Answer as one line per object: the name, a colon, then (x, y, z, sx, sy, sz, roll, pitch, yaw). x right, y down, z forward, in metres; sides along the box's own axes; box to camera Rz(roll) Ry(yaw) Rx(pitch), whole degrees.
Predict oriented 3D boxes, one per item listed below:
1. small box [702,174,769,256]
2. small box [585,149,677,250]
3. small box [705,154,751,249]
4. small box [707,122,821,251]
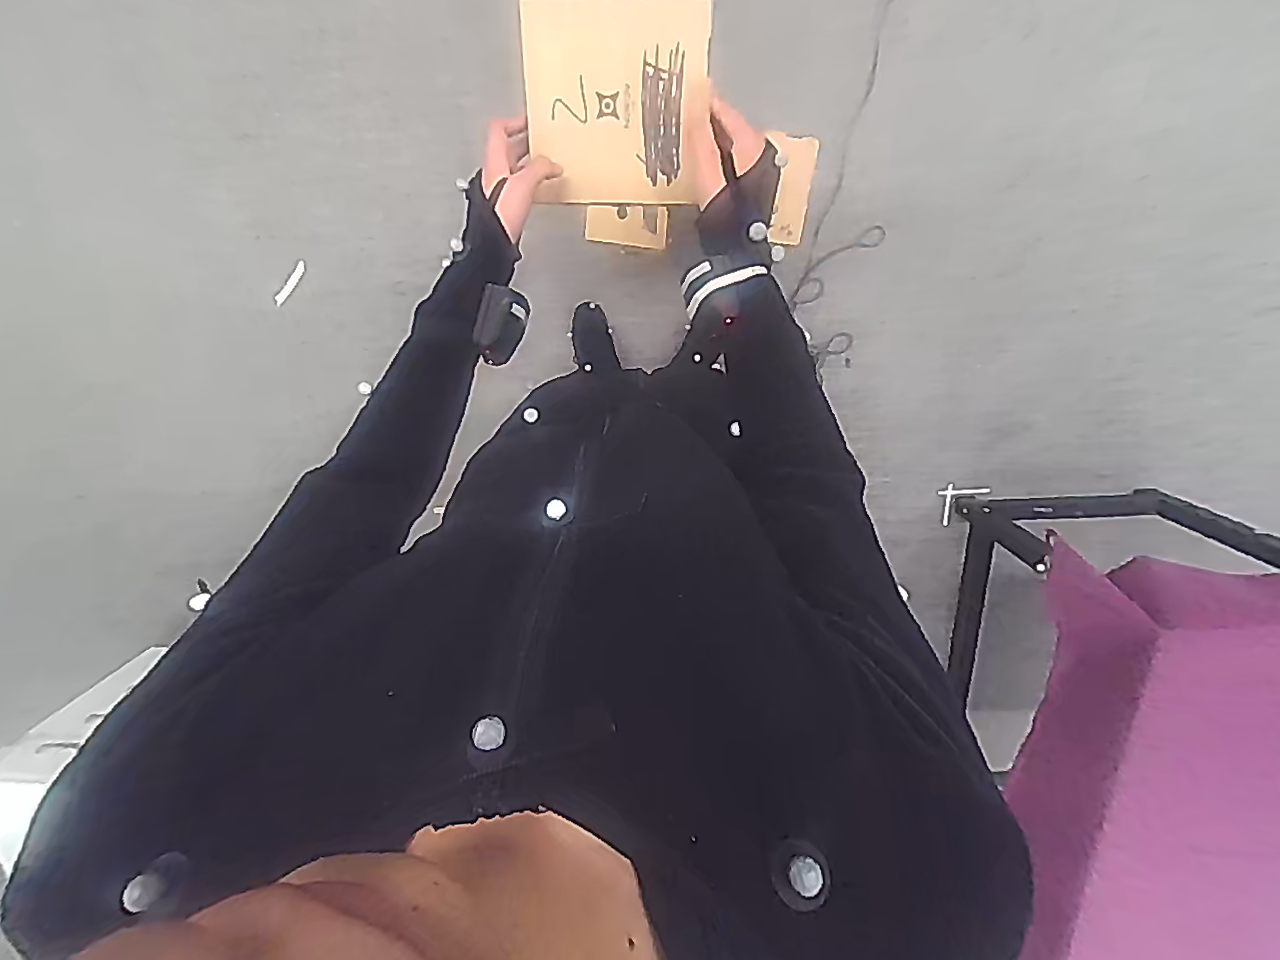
small box: (0.242, -0.661, 1.348, 0.168, 0.176, 0.179, 0, 109, 3)
small box: (-0.017, -0.612, 1.199, 0.179, 0.176, 0.168, 8, 109, 0)
small box: (0.236, -0.608, 1.195, 0.179, 0.176, 0.168, 1, 109, 3)
small box: (0.226, -0.553, 1.040, 0.168, 0.176, 0.179, 8, 108, 0)
